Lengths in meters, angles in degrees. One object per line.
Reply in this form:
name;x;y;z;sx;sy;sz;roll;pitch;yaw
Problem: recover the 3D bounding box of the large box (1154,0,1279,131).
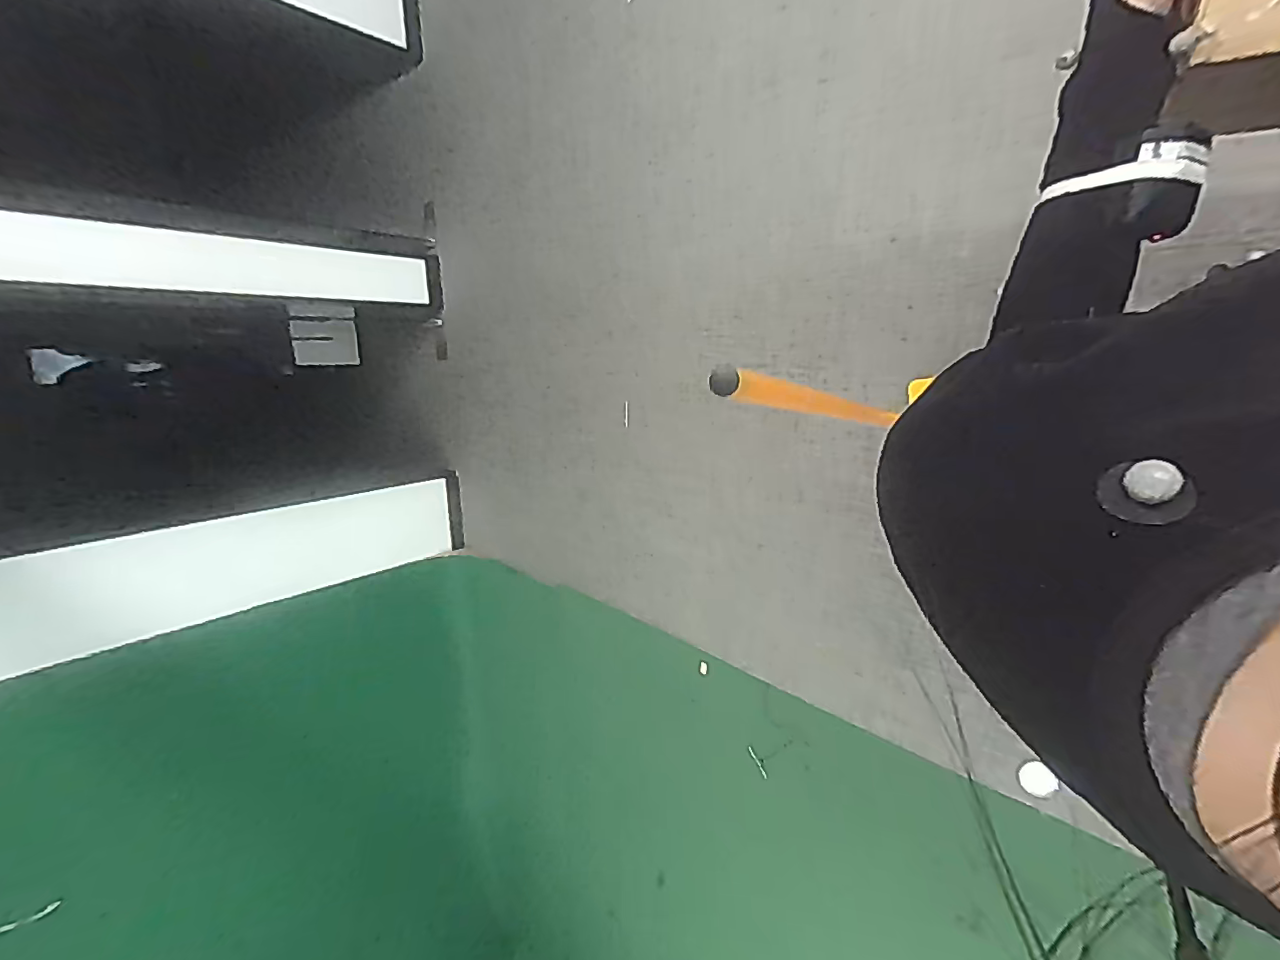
large box;0.592;-0.413;0.284;0.408;0.320;0.320;15;117;36
